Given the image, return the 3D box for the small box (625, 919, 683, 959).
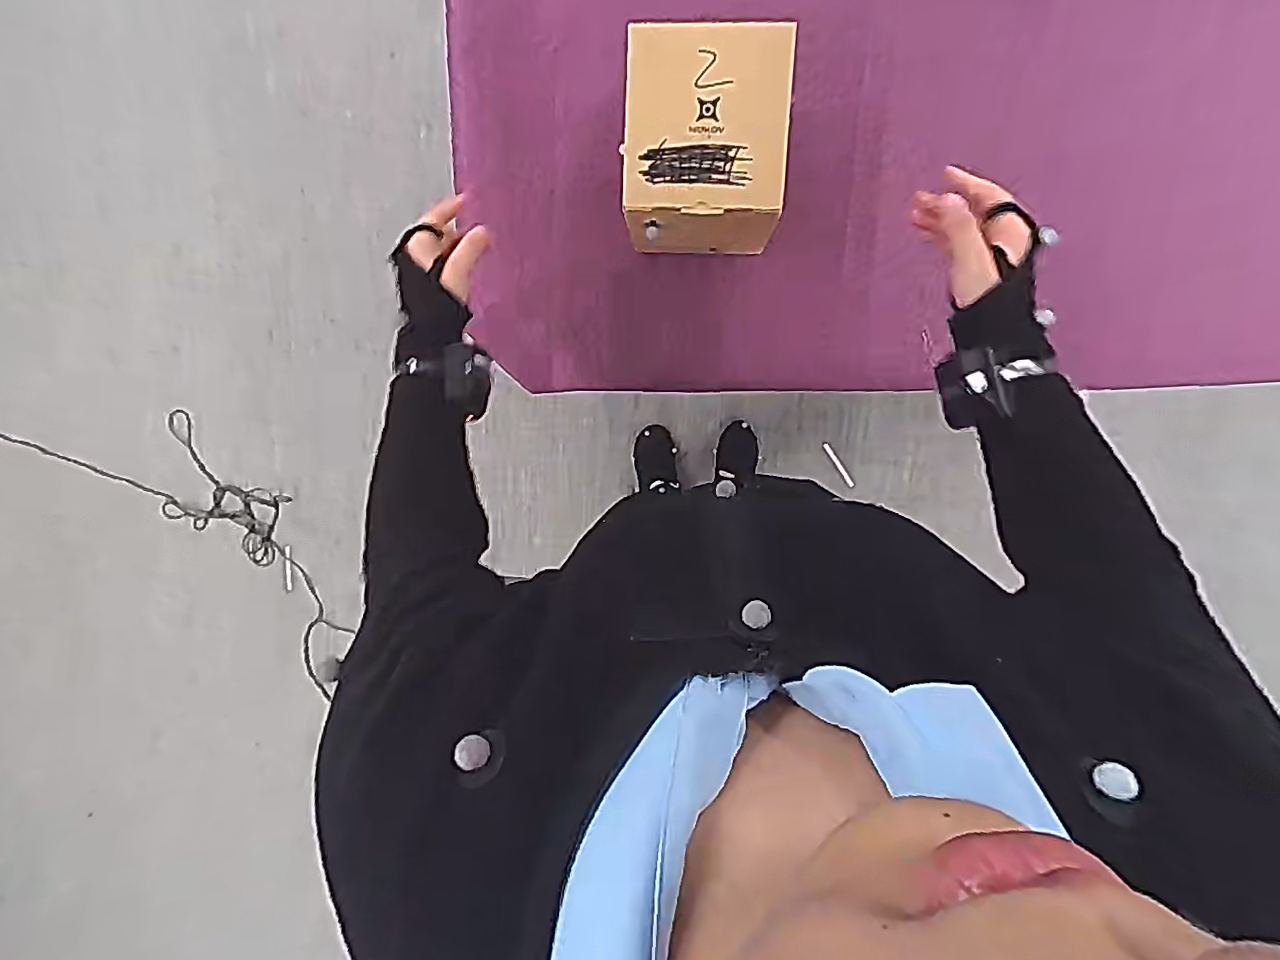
[{"bbox_3d":[0.036,1.459,1.596,0.168,0.176,0.179,7,99,3],"label":"small box"}]
